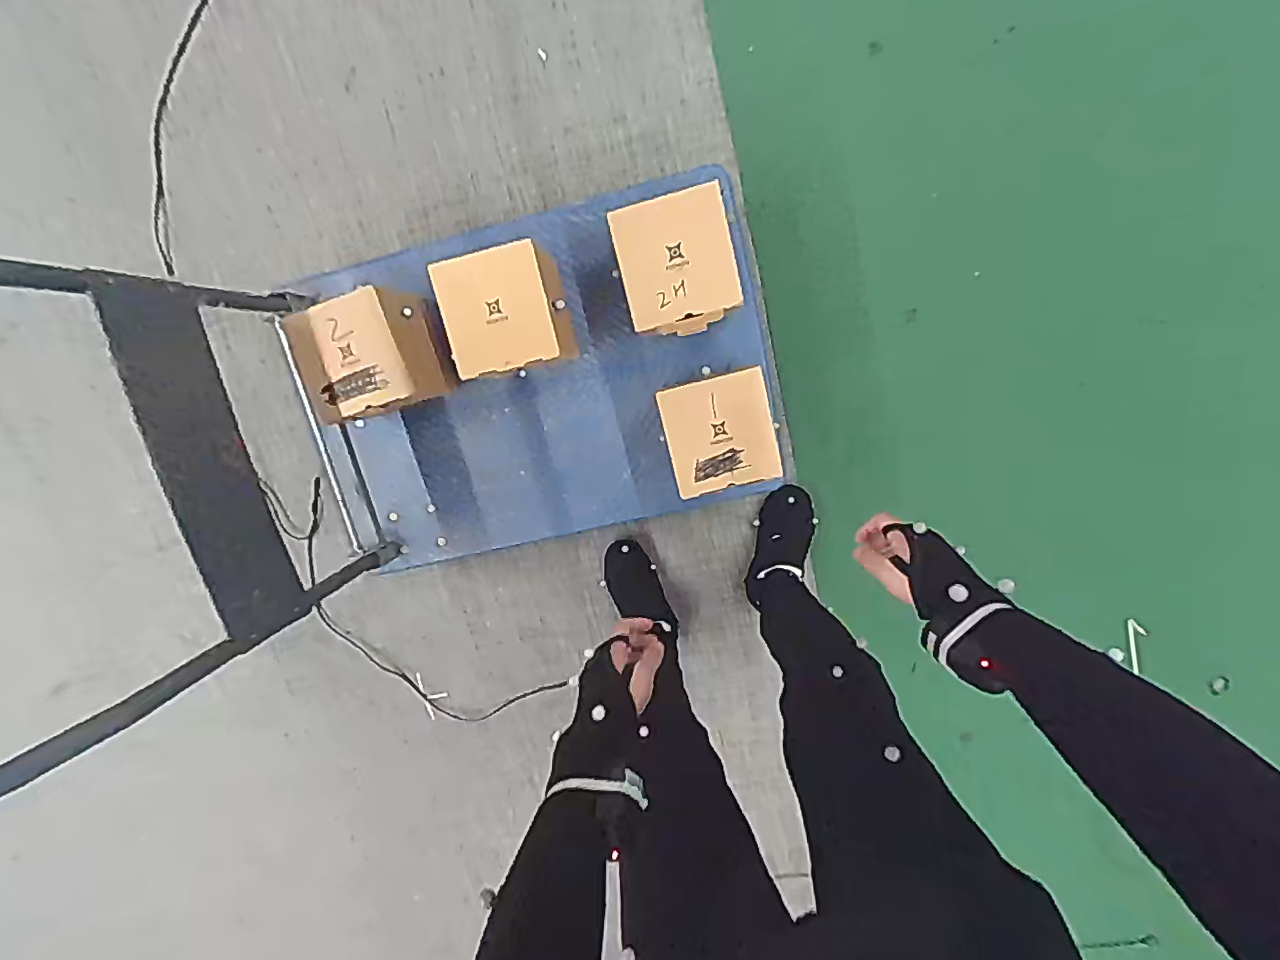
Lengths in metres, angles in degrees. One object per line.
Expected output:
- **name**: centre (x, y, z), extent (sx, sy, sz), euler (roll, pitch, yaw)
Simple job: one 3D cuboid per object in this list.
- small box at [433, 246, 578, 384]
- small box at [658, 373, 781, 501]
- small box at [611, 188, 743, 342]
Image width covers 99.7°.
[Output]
- **small box**: centre (-0.211, -0.264, 0.898), extent (0.168, 0.176, 0.179), euler (-12, 102, 6)
- **small box**: centre (0.132, -0.081, 0.928), extent (0.168, 0.176, 0.179), euler (-13, 100, 6)
- **small box**: centre (0.059, -0.329, 0.864), extent (0.168, 0.176, 0.179), euler (-13, 101, 7)
